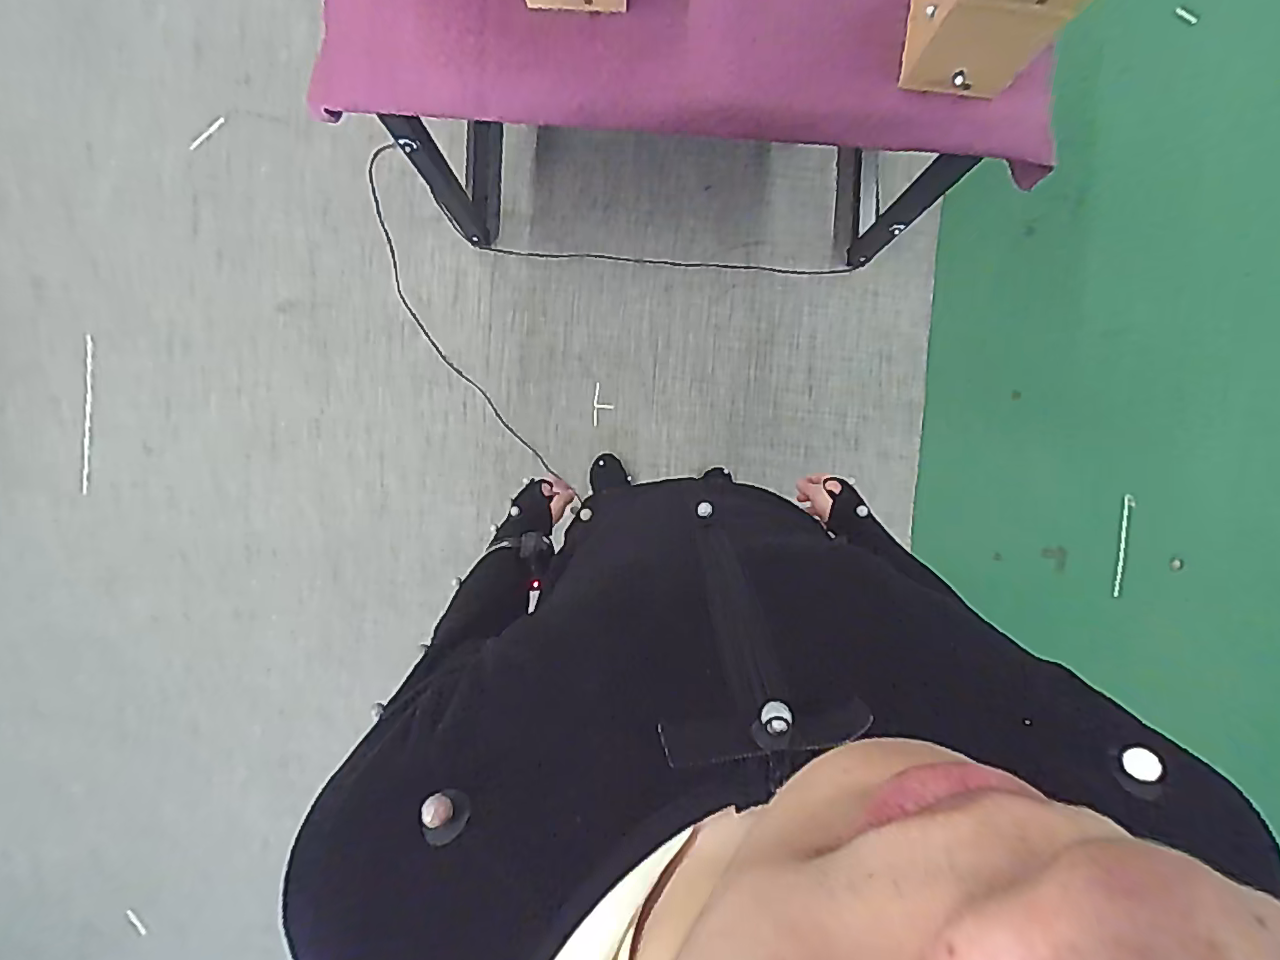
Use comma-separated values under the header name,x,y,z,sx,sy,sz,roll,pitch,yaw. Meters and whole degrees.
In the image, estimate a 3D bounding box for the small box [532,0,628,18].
name,x,y,z,sx,sy,sz,roll,pitch,yaw
small box,-0.097,-0.859,0.816,0.168,0.176,0.179,3,91,0

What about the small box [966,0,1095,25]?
name,x,y,z,sx,sy,sz,roll,pitch,yaw
small box,0.525,-0.717,0.657,0.168,0.176,0.179,8,90,1
